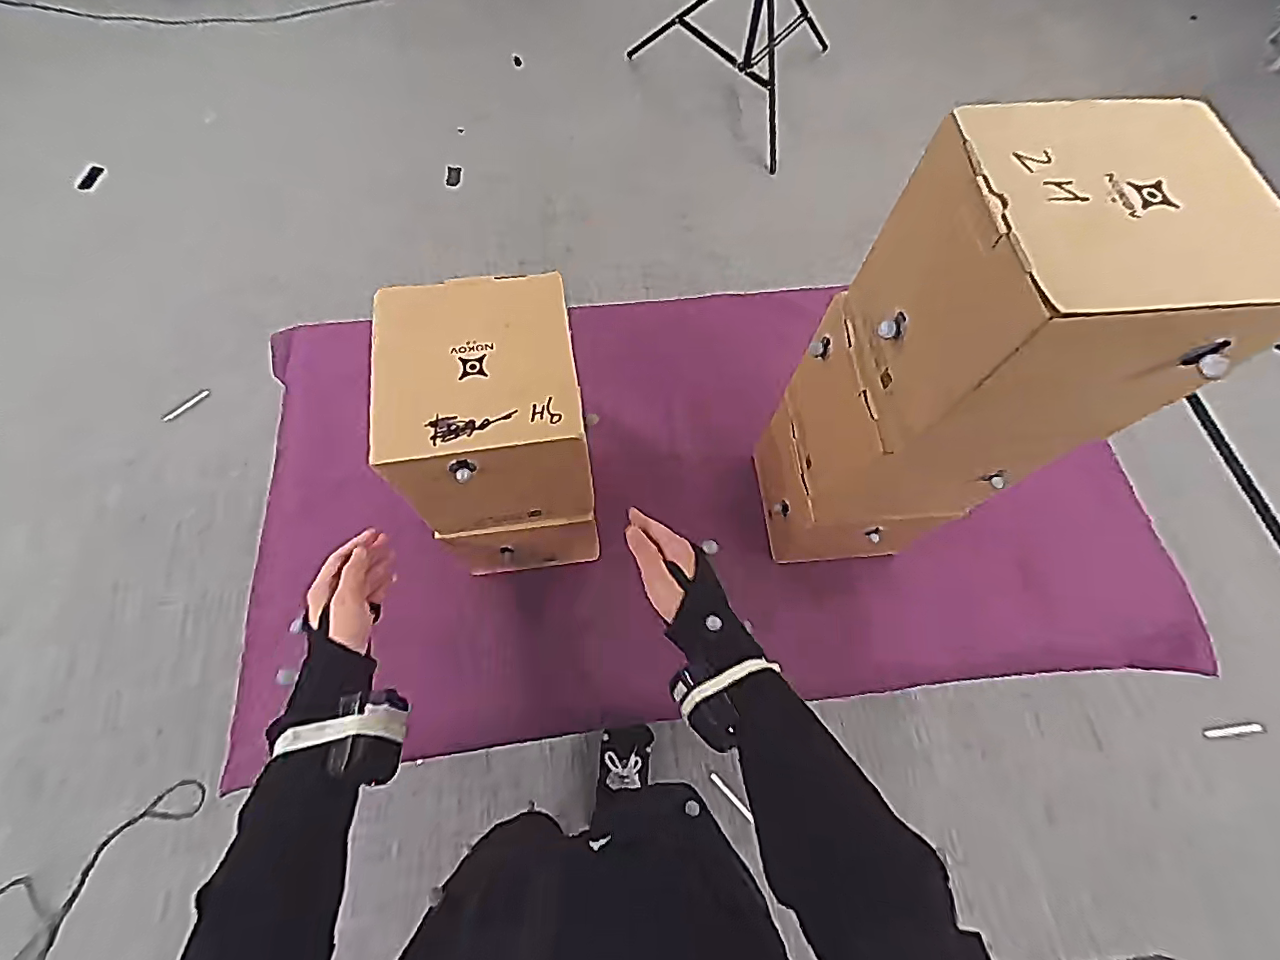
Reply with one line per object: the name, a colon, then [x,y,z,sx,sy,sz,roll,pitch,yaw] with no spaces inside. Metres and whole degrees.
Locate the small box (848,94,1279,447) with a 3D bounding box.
small box: [0.279,-0.135,0.386,0.179,0.176,0.168,-5,66,-4]

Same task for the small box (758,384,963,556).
small box: [0.258,-0.006,0.688,0.179,0.176,0.168,-4,67,-5]

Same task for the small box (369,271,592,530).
small box: [-0.140,-0.069,0.523,0.168,0.176,0.179,-8,66,-5]

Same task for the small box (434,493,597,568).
small box: [-0.145,0.004,0.670,0.168,0.176,0.179,-7,66,-5]
